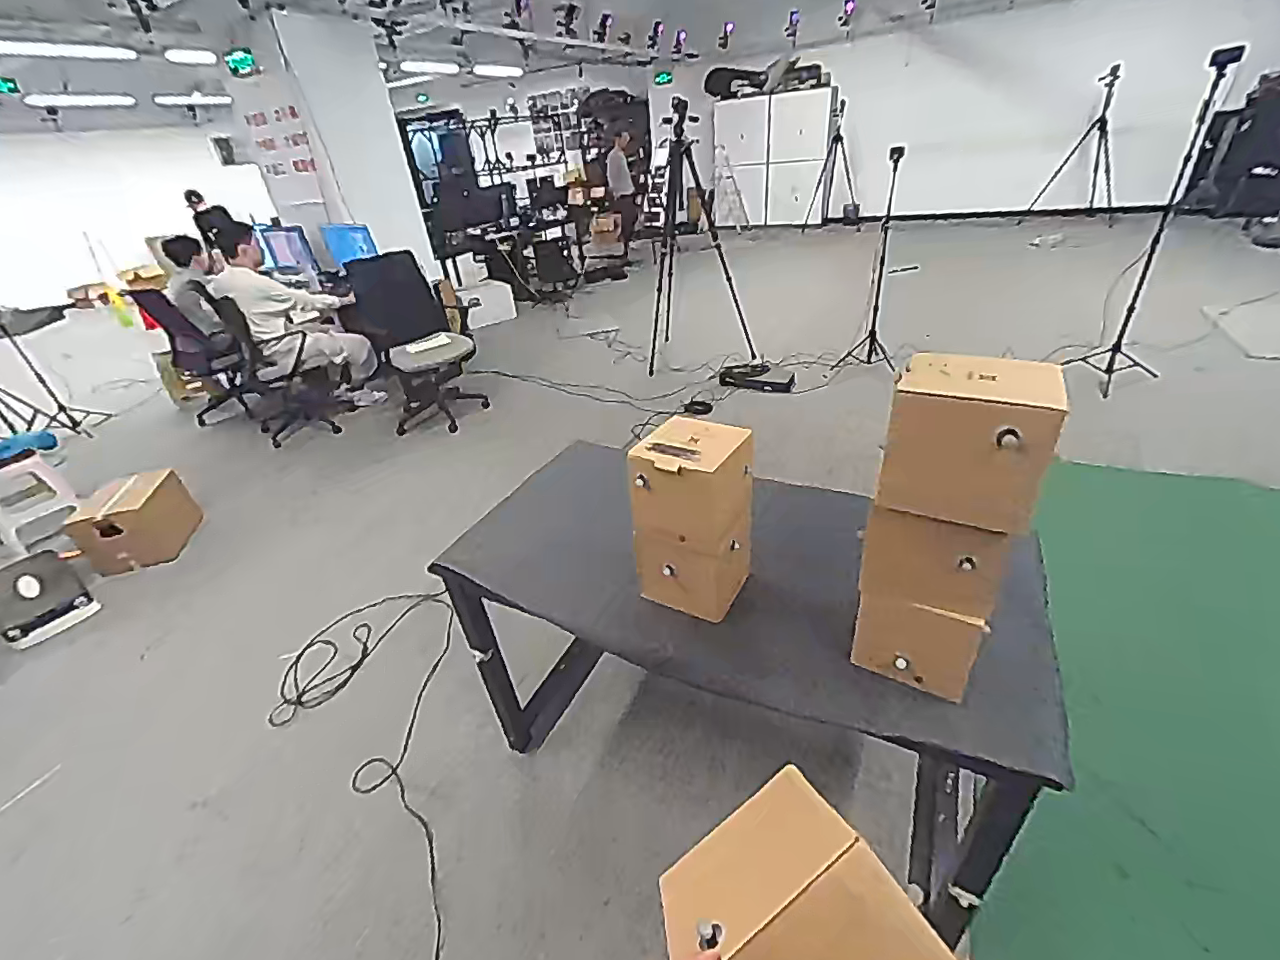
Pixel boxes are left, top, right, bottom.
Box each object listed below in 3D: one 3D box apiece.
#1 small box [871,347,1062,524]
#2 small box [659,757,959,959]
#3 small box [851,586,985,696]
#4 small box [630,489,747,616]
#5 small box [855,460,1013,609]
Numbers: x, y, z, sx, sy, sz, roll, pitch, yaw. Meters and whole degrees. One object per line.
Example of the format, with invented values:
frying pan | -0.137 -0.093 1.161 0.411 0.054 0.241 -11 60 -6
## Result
small box | 0.418 -0.062 0.705 0.179 0.176 0.168 13 33 29
small box | 0.130 0.372 0.451 0.179 0.168 0.176 -38 -6 -6
small box | 0.455 0.210 0.885 0.168 0.176 0.179 14 36 32
small box | 0.102 0.141 1.069 0.179 0.176 0.168 12 35 29
small box | 0.431 0.068 0.809 0.179 0.176 0.168 8 31 26
